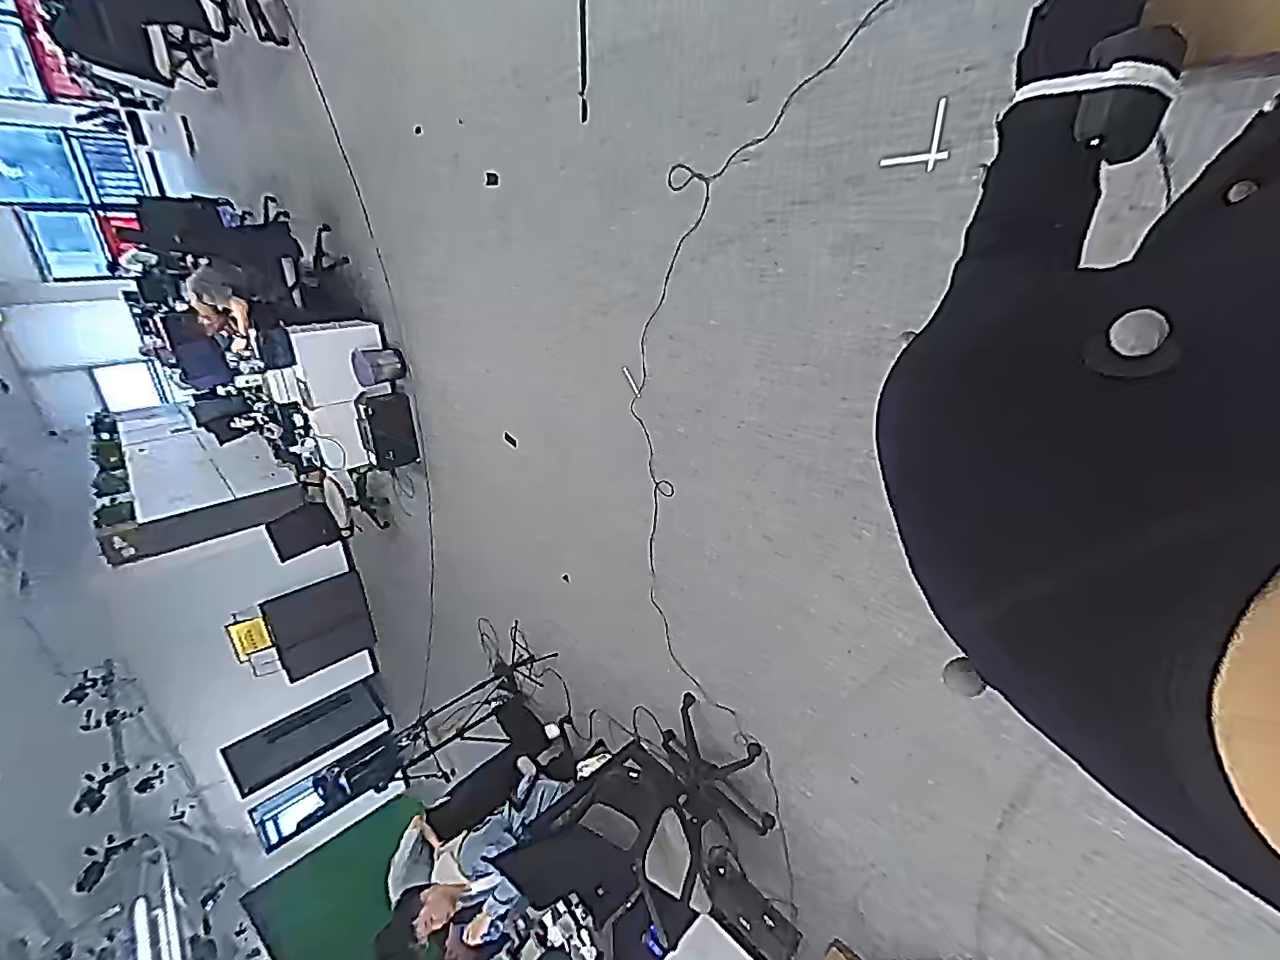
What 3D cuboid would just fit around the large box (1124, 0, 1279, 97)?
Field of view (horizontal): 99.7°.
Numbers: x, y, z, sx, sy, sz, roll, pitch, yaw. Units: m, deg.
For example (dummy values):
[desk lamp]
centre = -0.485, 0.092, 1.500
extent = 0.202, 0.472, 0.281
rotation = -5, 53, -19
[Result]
[large box]
centre = 0.577, -0.433, 0.291
extent = 0.408, 0.320, 0.320
rotation = 20, 128, 39
